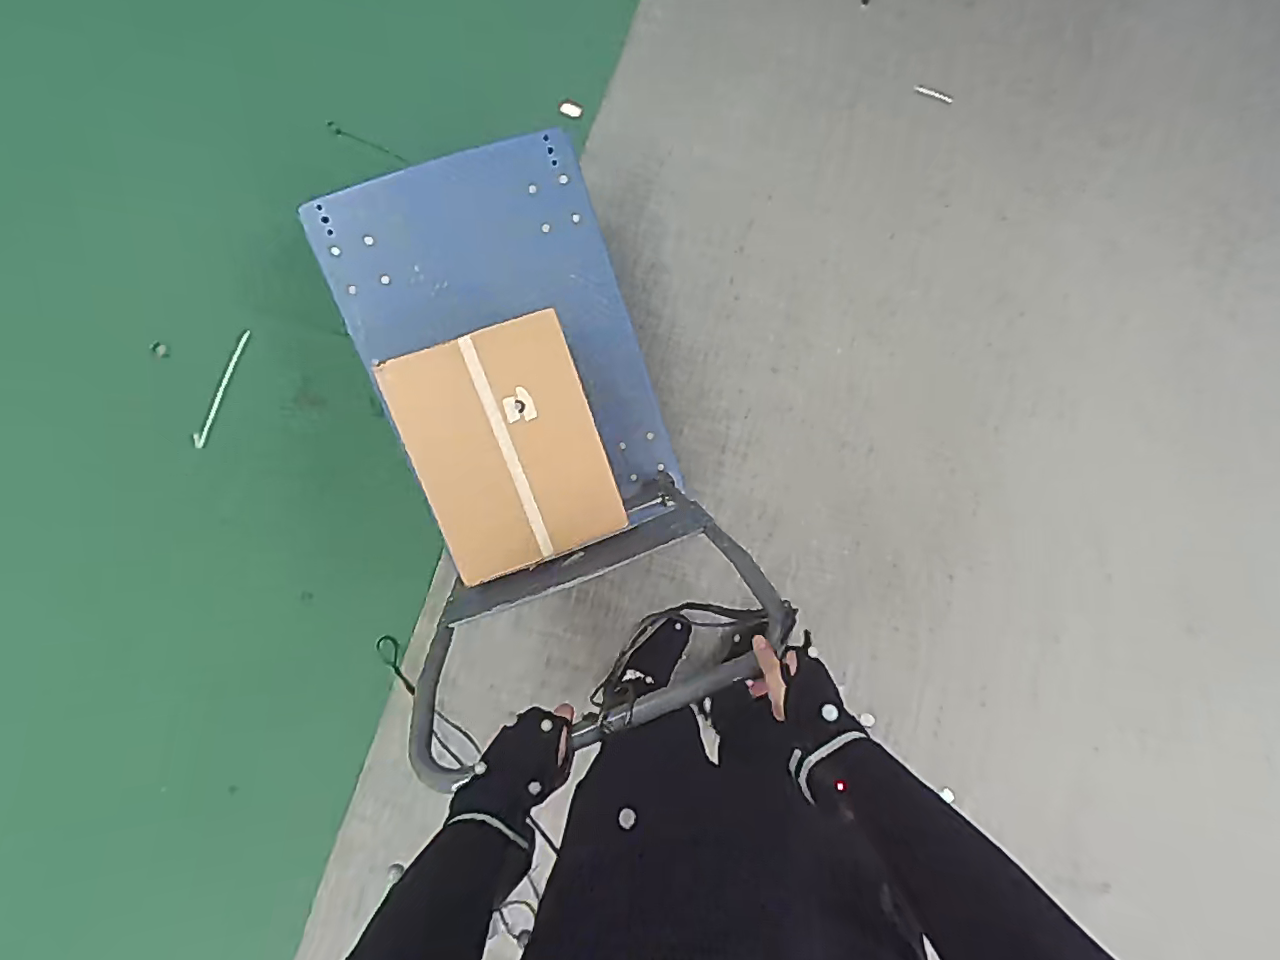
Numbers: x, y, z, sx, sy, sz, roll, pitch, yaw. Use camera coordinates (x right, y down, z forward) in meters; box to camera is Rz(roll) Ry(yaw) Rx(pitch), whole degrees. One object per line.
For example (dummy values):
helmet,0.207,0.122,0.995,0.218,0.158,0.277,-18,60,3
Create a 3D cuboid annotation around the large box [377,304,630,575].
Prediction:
large box,-0.243,-0.085,1.079,0.320,0.320,0.408,-20,101,-5
